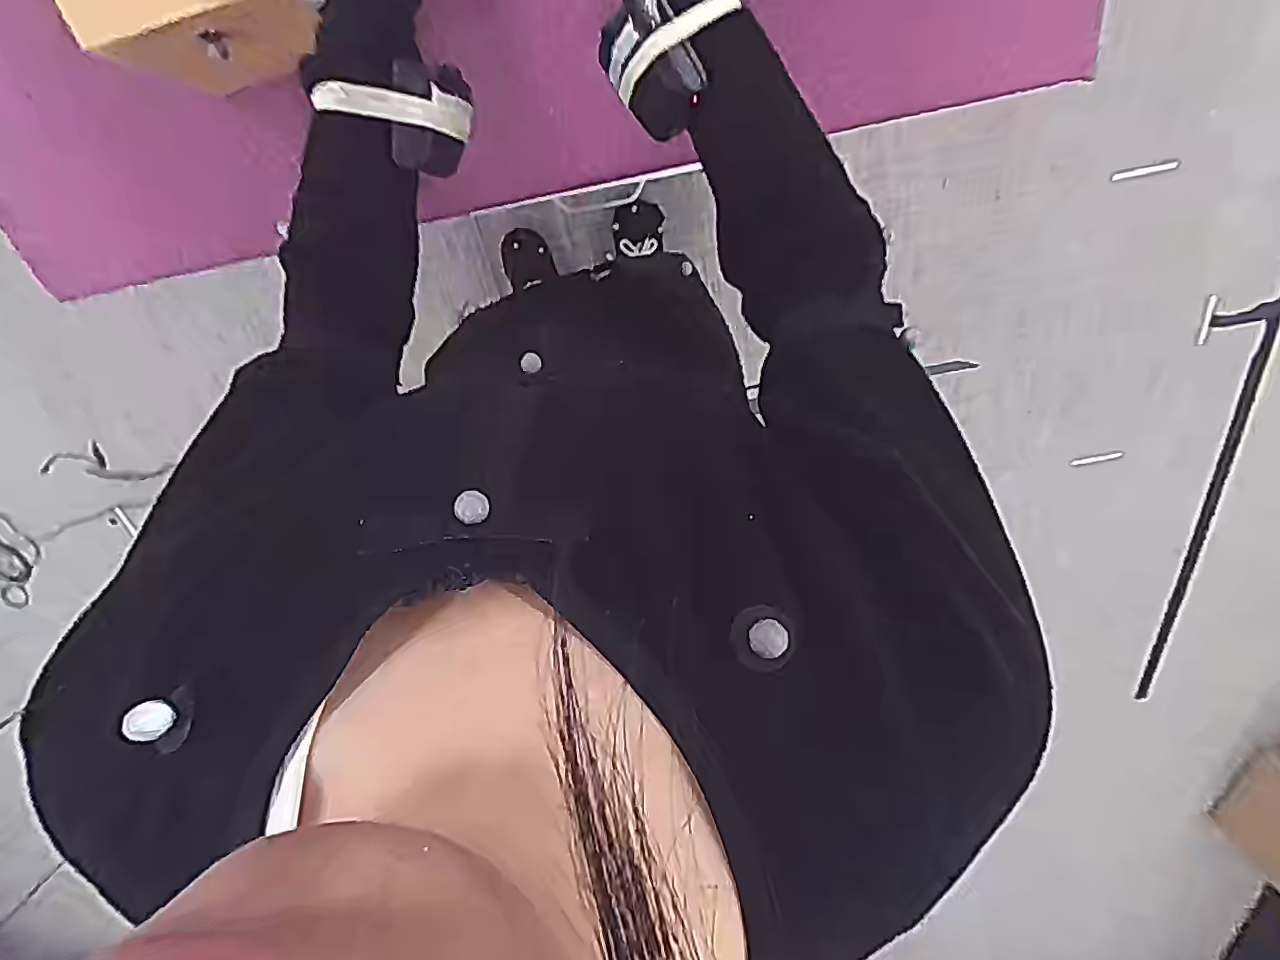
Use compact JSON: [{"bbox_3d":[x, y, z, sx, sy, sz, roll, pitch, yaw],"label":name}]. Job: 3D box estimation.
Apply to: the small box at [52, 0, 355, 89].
[{"bbox_3d":[-0.368,-0.453,0.444,0.179,0.176,0.168,-14,117,4],"label":"small box"}]
